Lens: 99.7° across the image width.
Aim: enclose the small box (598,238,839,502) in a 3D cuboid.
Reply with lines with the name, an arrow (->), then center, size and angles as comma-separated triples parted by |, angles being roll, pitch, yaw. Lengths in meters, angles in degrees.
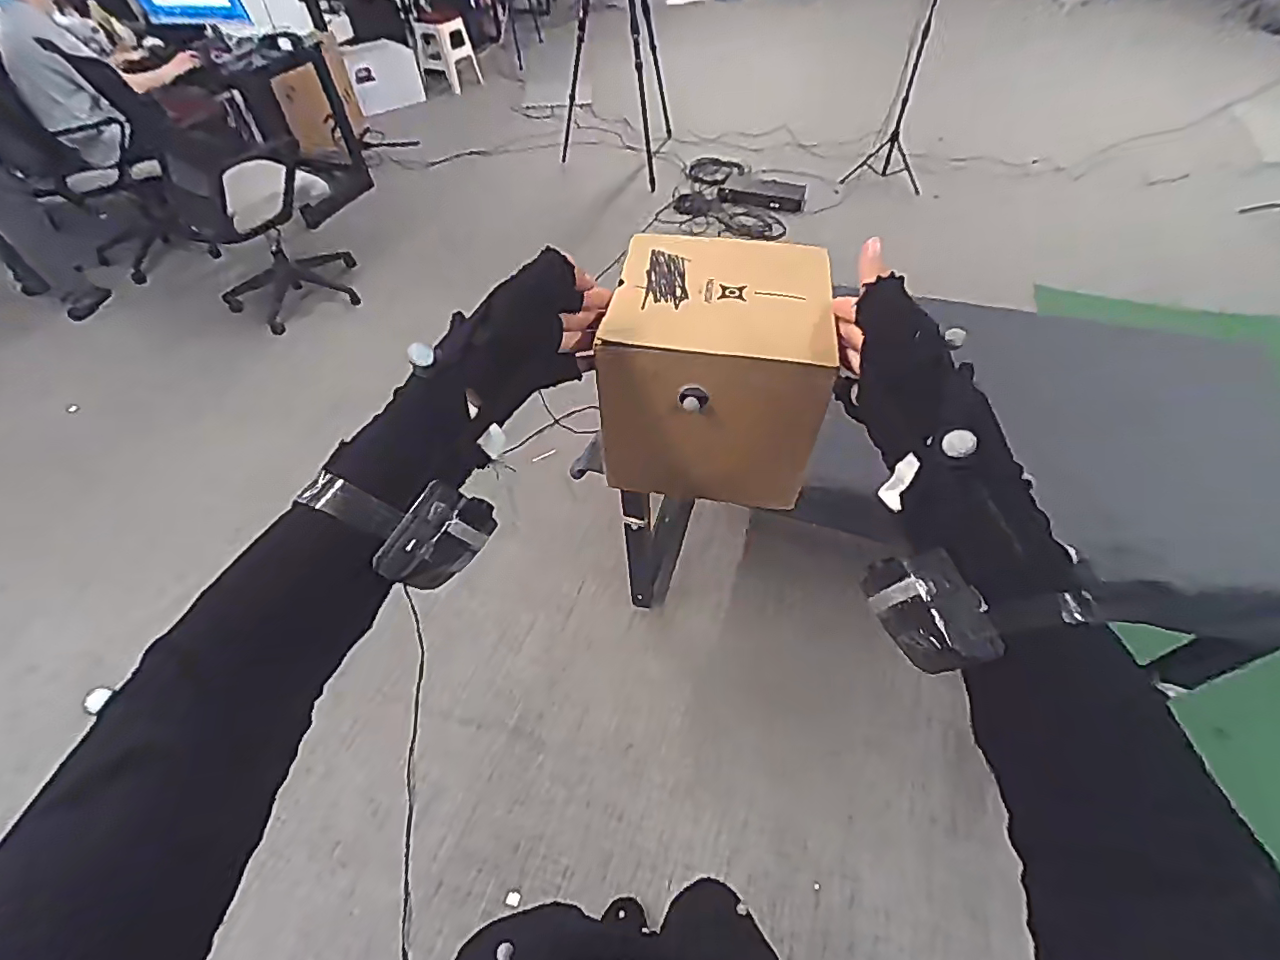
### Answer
small box -> 0.068, -0.097, 0.495 | 0.179, 0.176, 0.168 | 7, 51, 6
